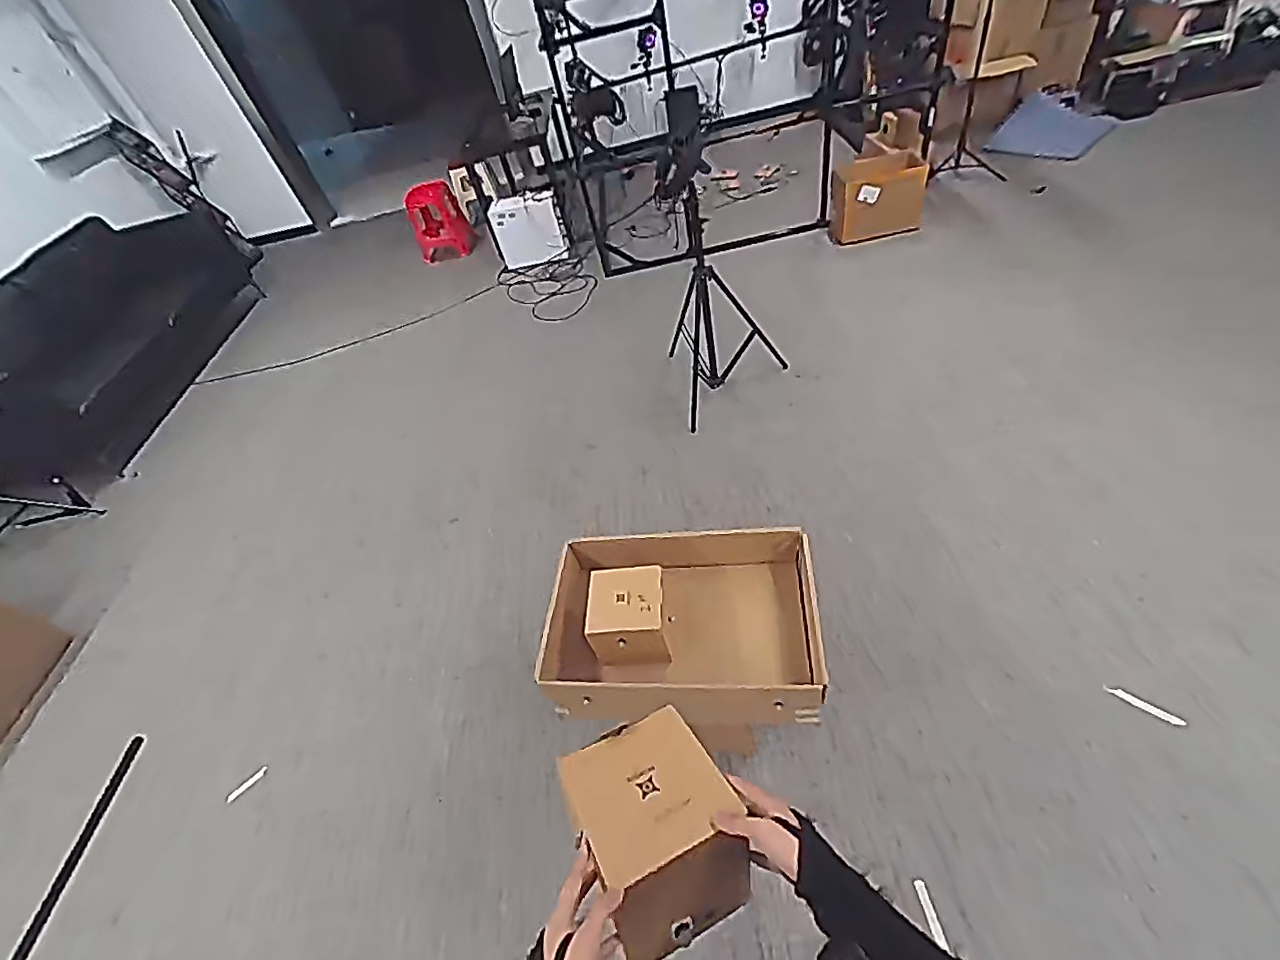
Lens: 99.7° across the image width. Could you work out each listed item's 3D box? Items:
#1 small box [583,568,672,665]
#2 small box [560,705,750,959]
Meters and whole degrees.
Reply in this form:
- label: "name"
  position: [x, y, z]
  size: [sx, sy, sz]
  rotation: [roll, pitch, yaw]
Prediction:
- label: "small box"
  position: [-0.023, 0.330, 1.292]
  size: [0.179, 0.176, 0.168]
  rotation: [-6, 47, 9]
- label: "small box"
  position: [0.016, 0.422, 0.656]
  size: [0.168, 0.176, 0.179]
  rotation: [-17, 26, -21]
